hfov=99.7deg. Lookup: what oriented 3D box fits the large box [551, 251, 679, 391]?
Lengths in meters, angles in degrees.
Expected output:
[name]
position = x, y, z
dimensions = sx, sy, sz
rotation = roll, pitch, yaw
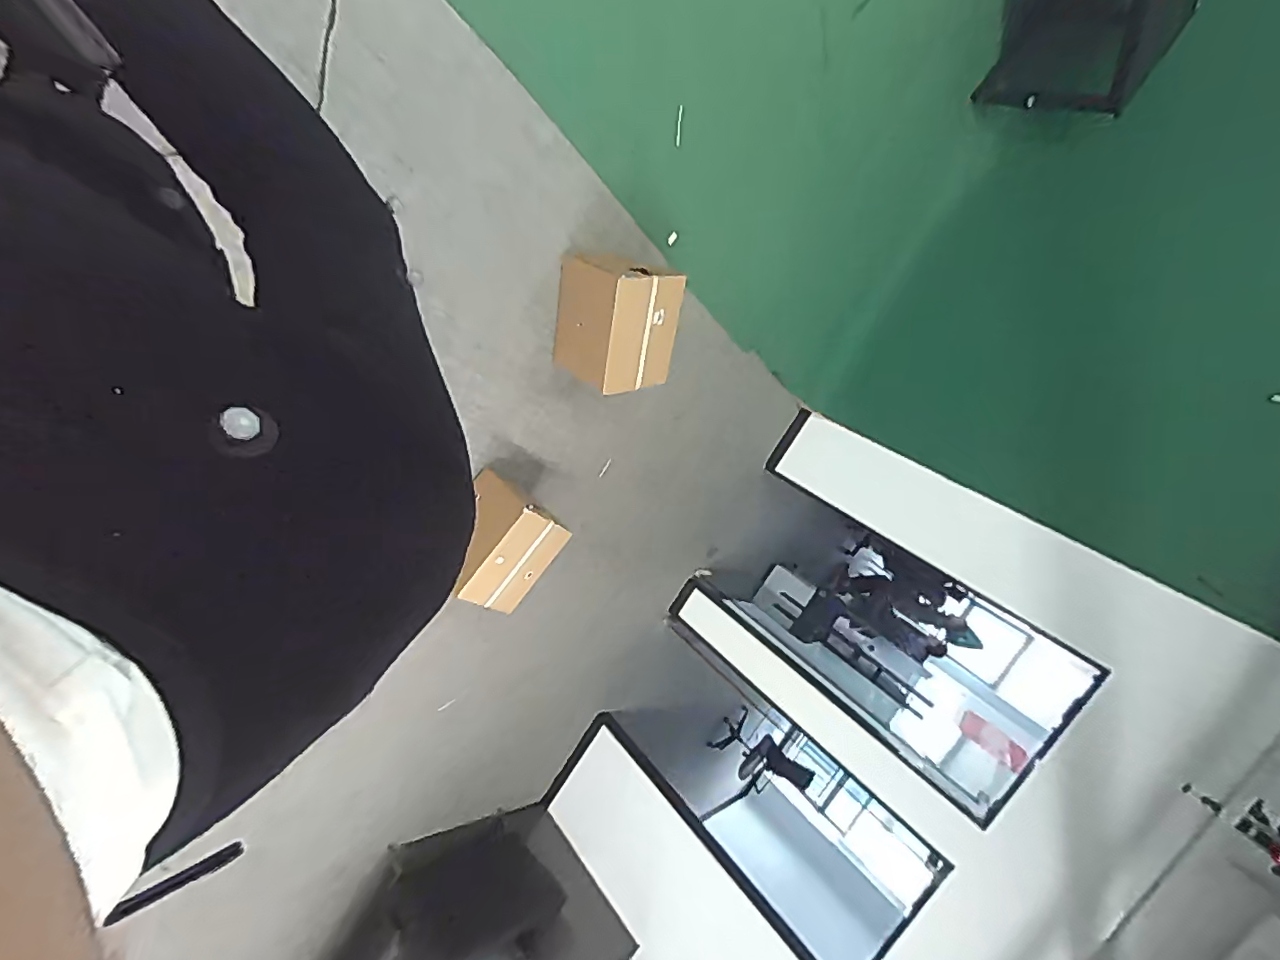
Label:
[large box]
position = -0.104, -0.581, 1.950
dimensions = 0.320, 0.320, 0.408
rotation = -20, 133, -39
